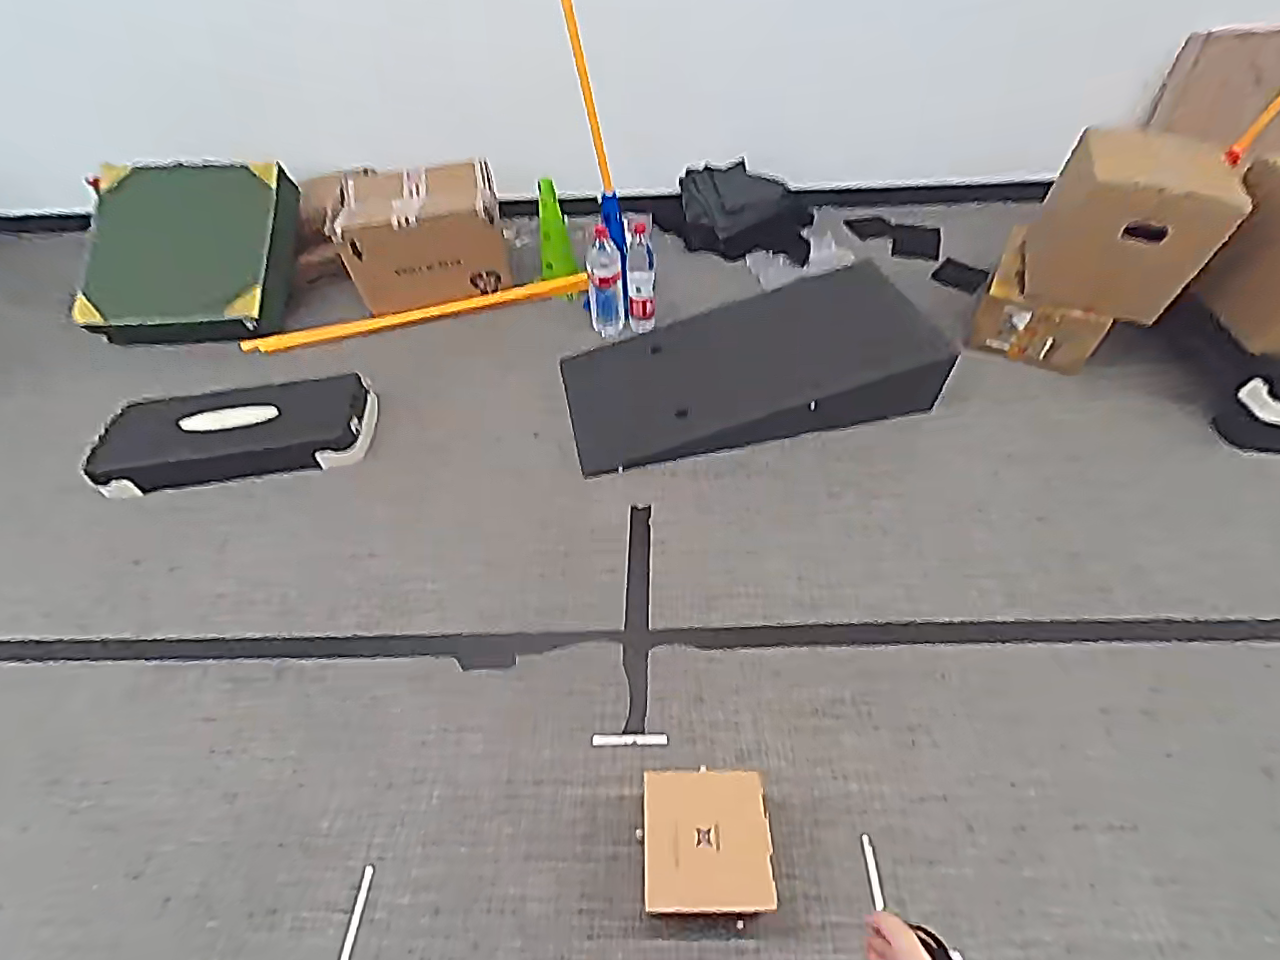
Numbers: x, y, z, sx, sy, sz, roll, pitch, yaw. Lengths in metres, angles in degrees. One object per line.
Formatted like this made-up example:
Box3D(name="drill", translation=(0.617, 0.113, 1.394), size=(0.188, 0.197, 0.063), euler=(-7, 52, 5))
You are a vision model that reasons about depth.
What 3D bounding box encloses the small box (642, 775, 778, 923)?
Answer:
Box3D(name="small box", translation=(0.093, 0.548, 0.802), size=(0.179, 0.176, 0.168), euler=(-1, 50, 2))
